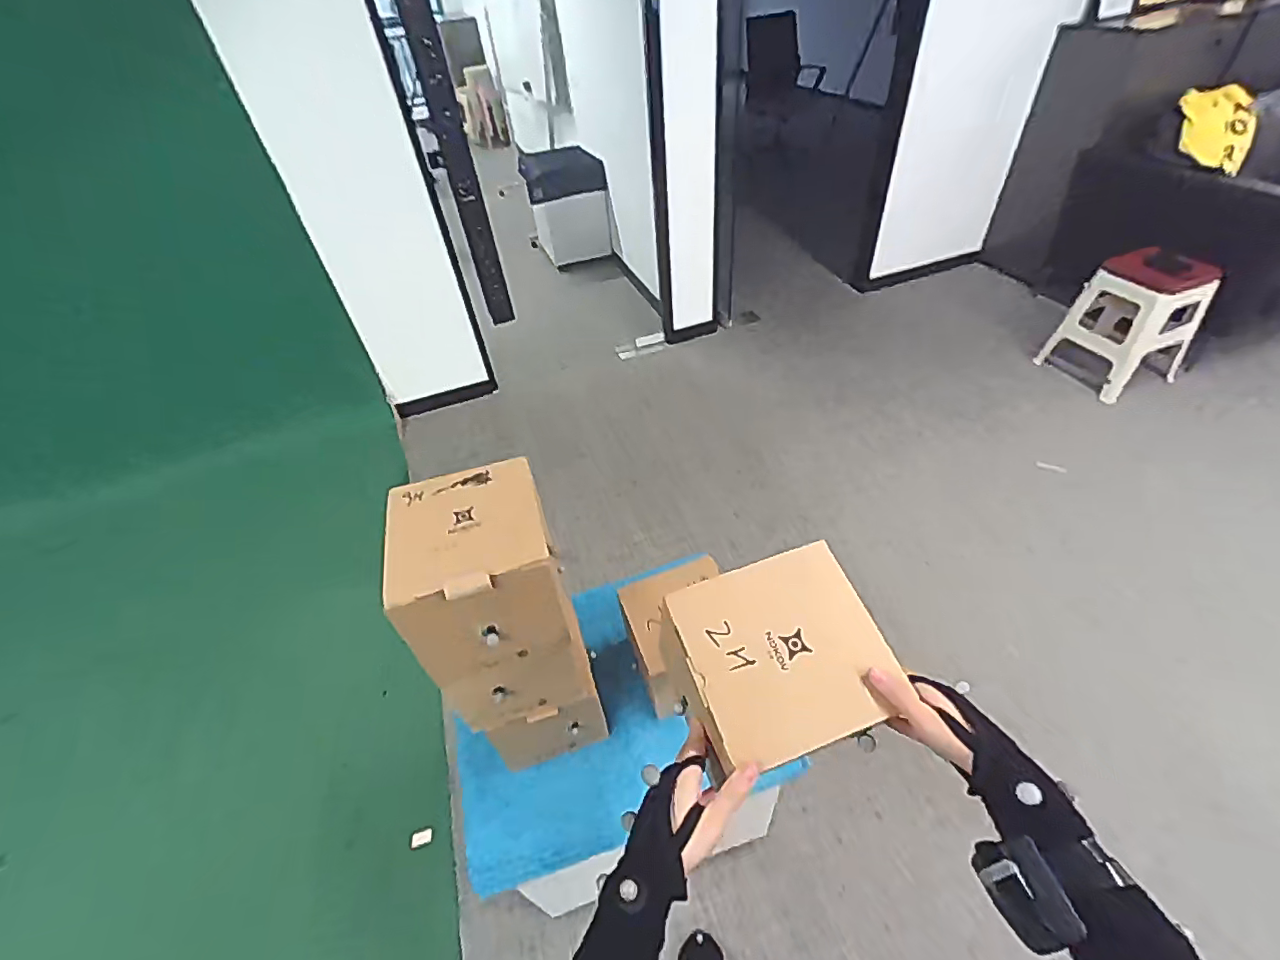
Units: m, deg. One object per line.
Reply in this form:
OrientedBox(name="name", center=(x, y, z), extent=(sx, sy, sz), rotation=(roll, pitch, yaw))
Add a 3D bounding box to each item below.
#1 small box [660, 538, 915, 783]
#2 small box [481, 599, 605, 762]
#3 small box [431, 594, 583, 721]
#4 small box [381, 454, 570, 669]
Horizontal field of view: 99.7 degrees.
OrientedBox(name="small box", center=(0.127, 0.187, 0.547), extent=(0.179, 0.176, 0.168), rotation=(-16, 58, -10))
OrientedBox(name="small box", center=(-0.160, 0.328, 0.872), extent=(0.168, 0.176, 0.179), rotation=(-14, 44, -10))
OrientedBox(name="small box", center=(-0.182, 0.214, 0.759), extent=(0.168, 0.176, 0.179), rotation=(-13, 43, -9))
OrientedBox(name="small box", center=(-0.186, 0.101, 0.640), extent=(0.168, 0.176, 0.179), rotation=(-13, 44, -9))
